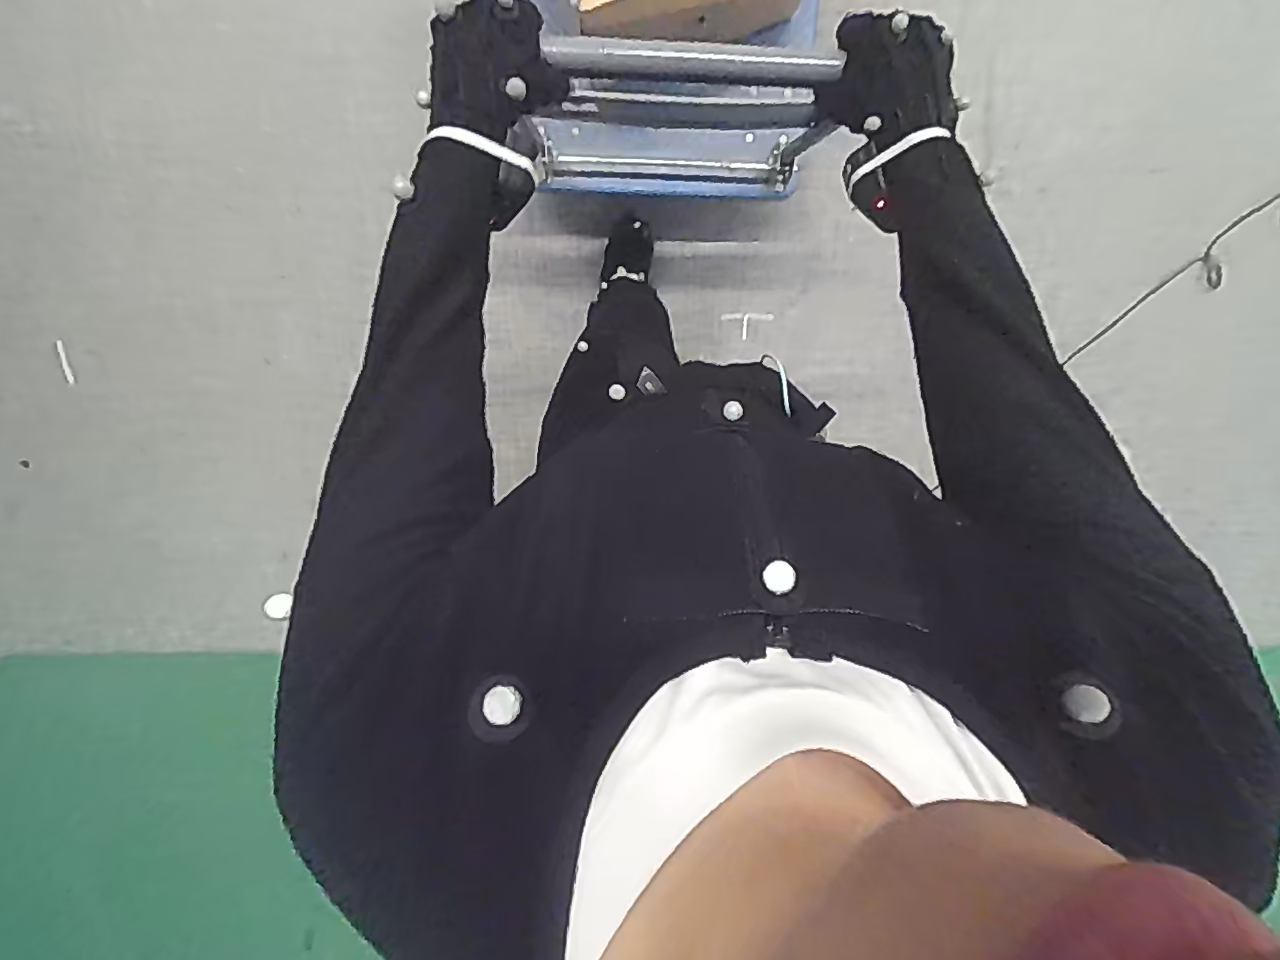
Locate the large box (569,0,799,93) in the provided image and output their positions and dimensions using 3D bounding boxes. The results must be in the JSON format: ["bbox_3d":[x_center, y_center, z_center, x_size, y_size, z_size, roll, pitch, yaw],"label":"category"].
[{"bbox_3d":[0.058,-0.912,0.868,0.408,0.320,0.320,-17,106,6],"label":"large box"}]
